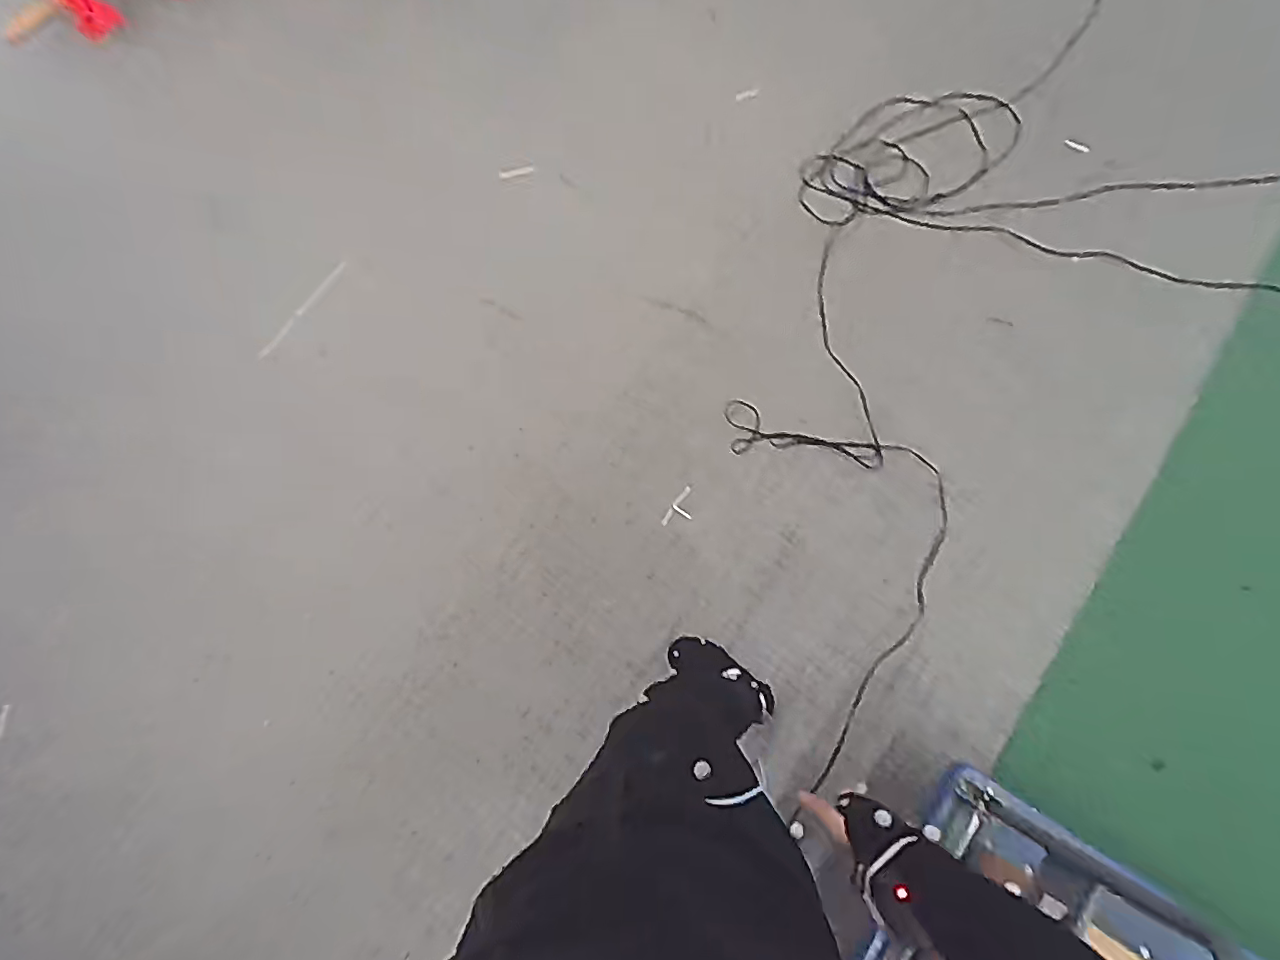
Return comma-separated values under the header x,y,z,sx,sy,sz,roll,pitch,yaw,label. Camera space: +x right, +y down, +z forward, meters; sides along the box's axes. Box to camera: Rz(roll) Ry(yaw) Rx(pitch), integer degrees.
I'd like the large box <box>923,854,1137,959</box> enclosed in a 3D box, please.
x,y,z,sx,sy,sz,roll,pitch,yaw,label
0.742,0.932,0.883,0.408,0.320,0.320,34,80,15,large box
